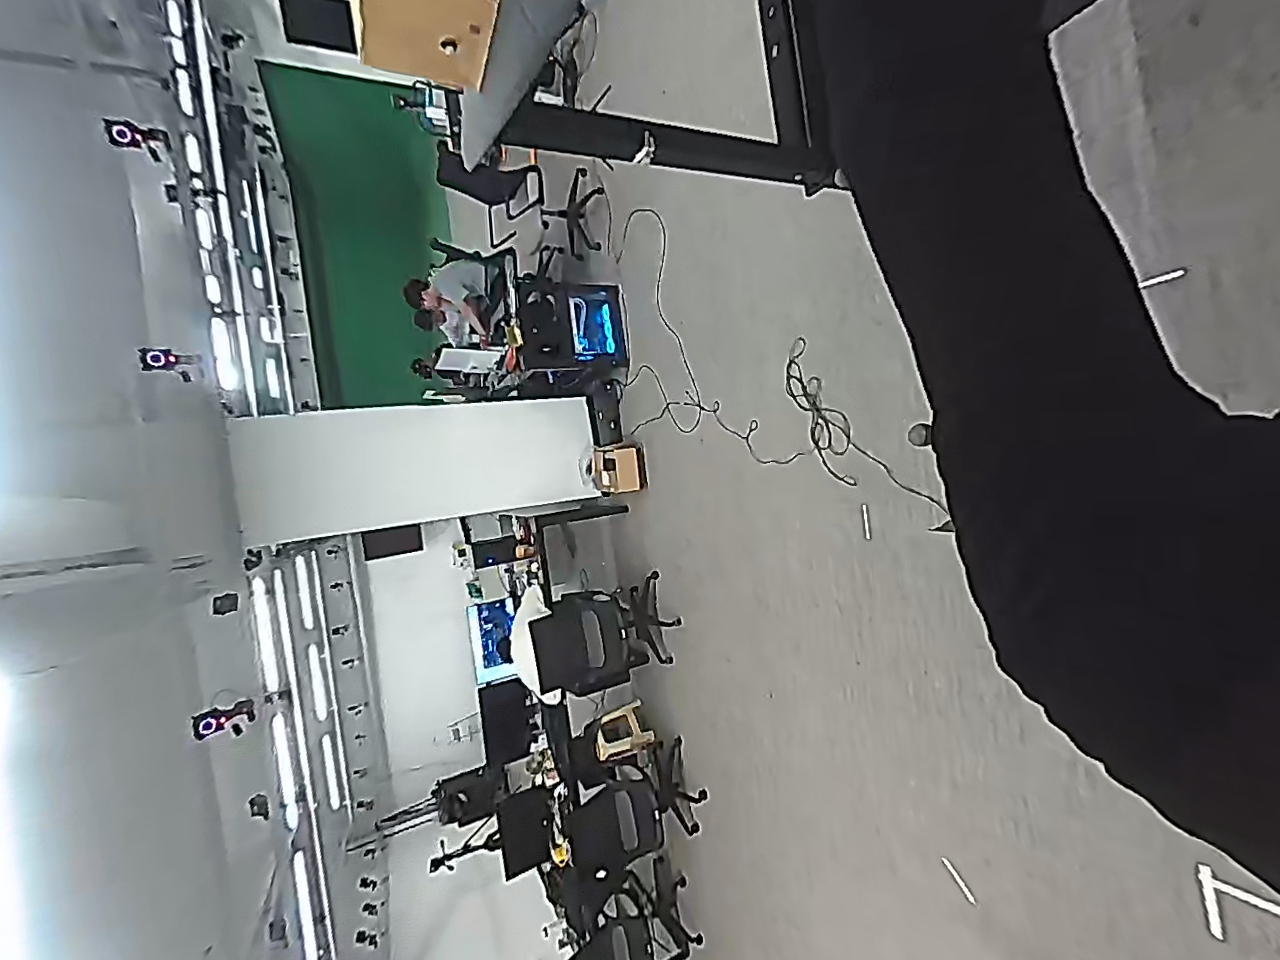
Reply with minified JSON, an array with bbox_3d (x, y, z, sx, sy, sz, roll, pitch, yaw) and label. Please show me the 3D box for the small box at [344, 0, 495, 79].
[{"bbox_3d":[-0.301,-0.684,0.718,0.168,0.176,0.179,-15,85,64],"label":"small box"}]
